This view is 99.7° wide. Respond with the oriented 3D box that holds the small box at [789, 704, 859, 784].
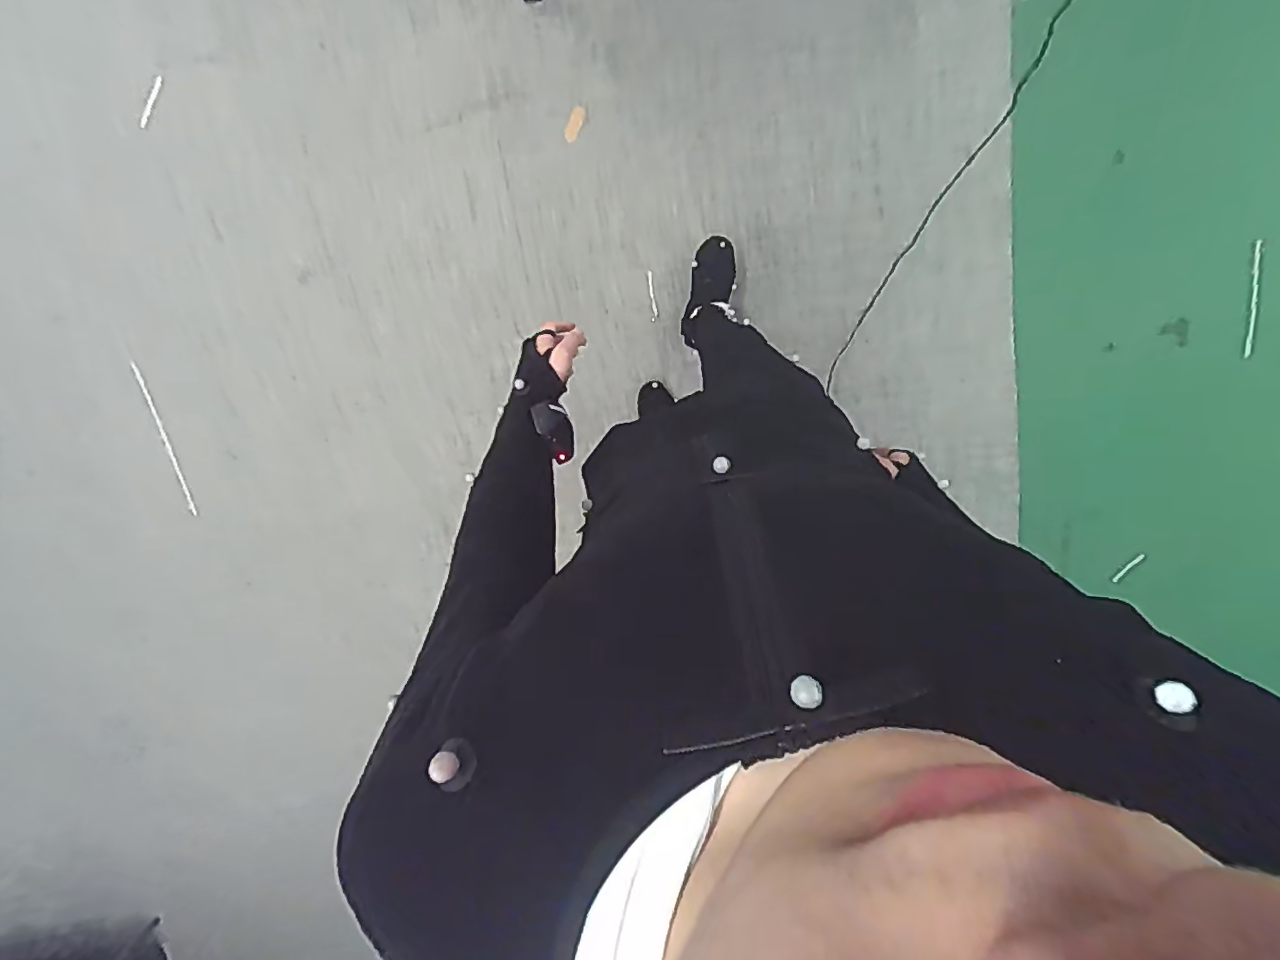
[{"bbox_3d":[0.588,0.844,1.739,0.179,0.176,0.168,-5,103,3],"label":"small box"}]
